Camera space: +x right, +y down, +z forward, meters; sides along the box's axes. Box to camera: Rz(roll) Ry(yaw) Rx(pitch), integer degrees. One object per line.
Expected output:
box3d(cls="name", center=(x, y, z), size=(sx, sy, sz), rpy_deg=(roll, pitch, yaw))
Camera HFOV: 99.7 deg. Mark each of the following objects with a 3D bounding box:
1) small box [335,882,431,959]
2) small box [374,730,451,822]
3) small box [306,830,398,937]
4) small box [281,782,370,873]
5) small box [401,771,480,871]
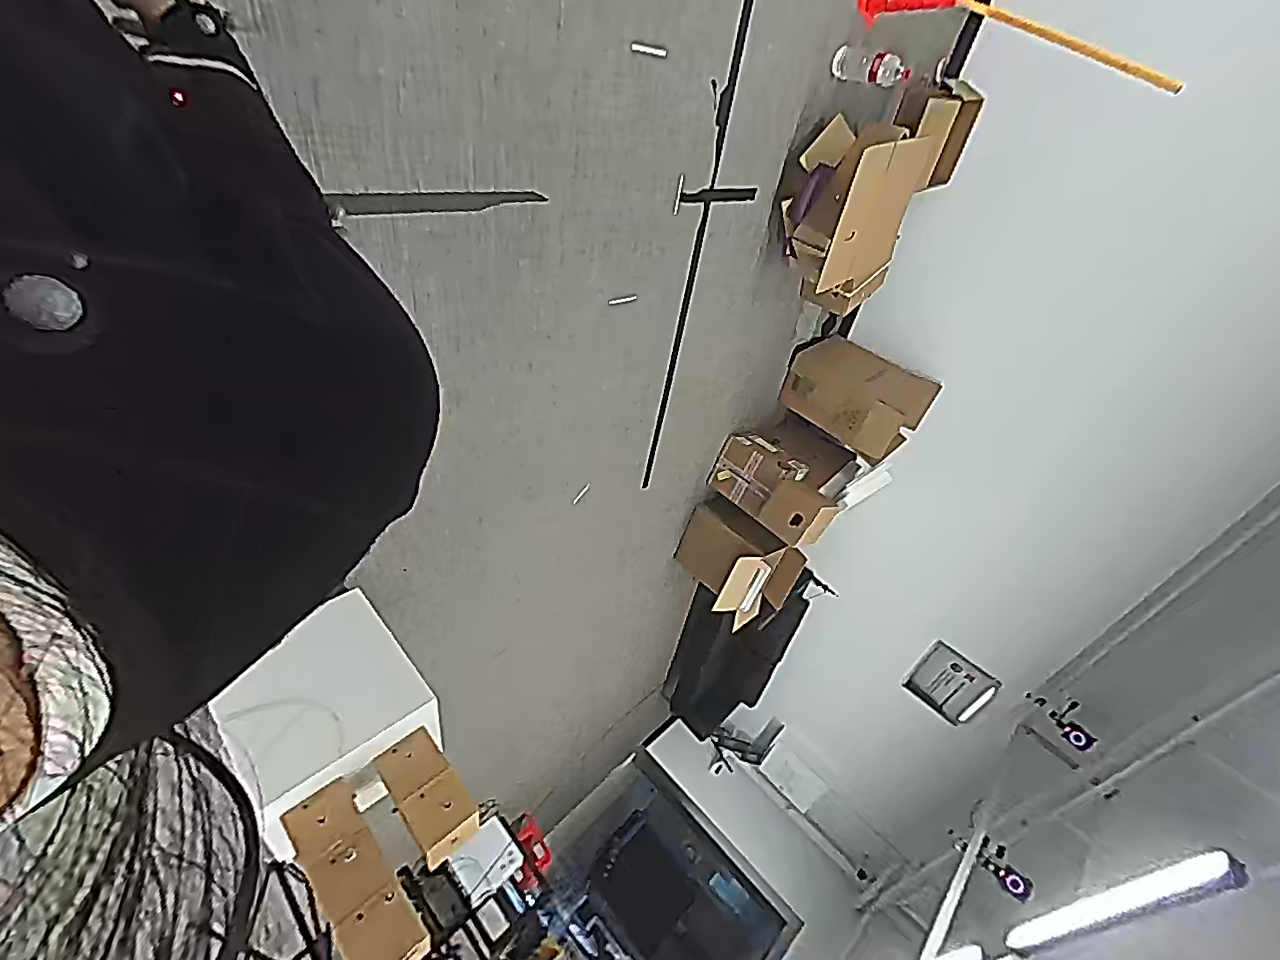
box3d(cls="small box", center=(-0.655, 1.182, 1.383), size=(0.168, 0.176, 0.179), rpy_deg=(-26, 144, -42))
box3d(cls="small box", center=(-0.712, 0.929, 1.705), size=(0.168, 0.176, 0.179), rpy_deg=(-28, 144, -37))
box3d(cls="small box", center=(-0.771, 1.095, 1.461), size=(0.168, 0.176, 0.179), rpy_deg=(-27, 143, -41))
box3d(cls="small box", center=(-0.885, 1.000, 1.531), size=(0.168, 0.176, 0.179), rpy_deg=(-27, 142, -41))
box3d(cls="small box", center=(-0.600, 1.015, 1.625), size=(0.168, 0.176, 0.179), rpy_deg=(-27, 144, -38))
